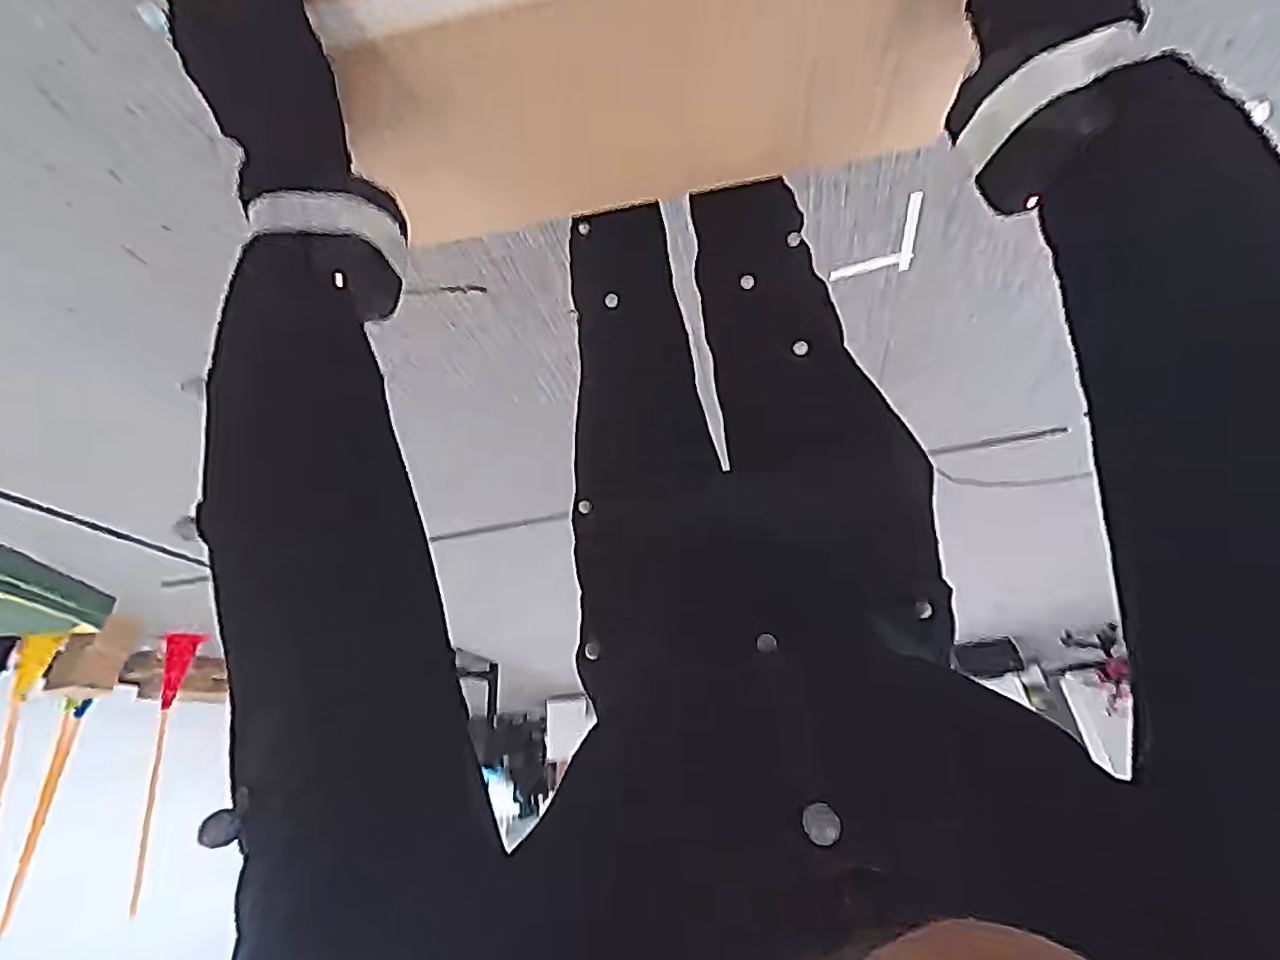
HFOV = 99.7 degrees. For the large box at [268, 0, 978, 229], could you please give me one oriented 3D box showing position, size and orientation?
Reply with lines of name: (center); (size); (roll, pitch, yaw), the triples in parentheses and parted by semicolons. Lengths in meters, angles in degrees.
large box: (-0.020, -0.419, 0.326); (0.408, 0.320, 0.320); (-8, 161, 5)
